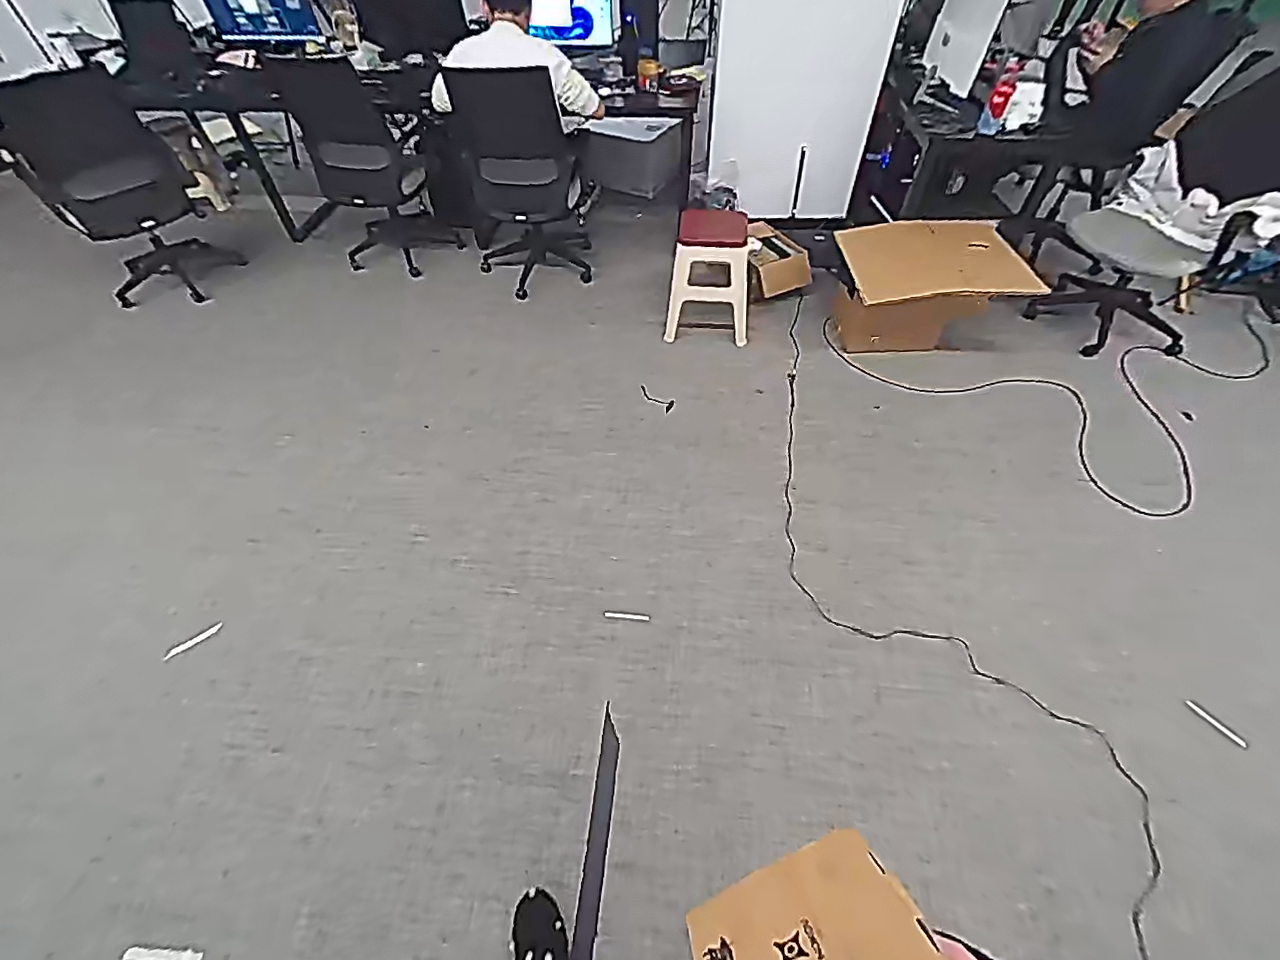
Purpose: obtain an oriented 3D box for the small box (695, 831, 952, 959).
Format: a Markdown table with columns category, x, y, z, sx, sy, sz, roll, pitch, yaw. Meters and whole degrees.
| category | x | y | z | sx | sy | sz | roll | pitch | yaw |
| --- | --- | --- | --- | --- | --- | --- | --- | --- | --- |
| small box | 0.166 | 0.442 | 0.433 | 0.179 | 0.168 | 0.176 | -24 | 91 | -4 |
